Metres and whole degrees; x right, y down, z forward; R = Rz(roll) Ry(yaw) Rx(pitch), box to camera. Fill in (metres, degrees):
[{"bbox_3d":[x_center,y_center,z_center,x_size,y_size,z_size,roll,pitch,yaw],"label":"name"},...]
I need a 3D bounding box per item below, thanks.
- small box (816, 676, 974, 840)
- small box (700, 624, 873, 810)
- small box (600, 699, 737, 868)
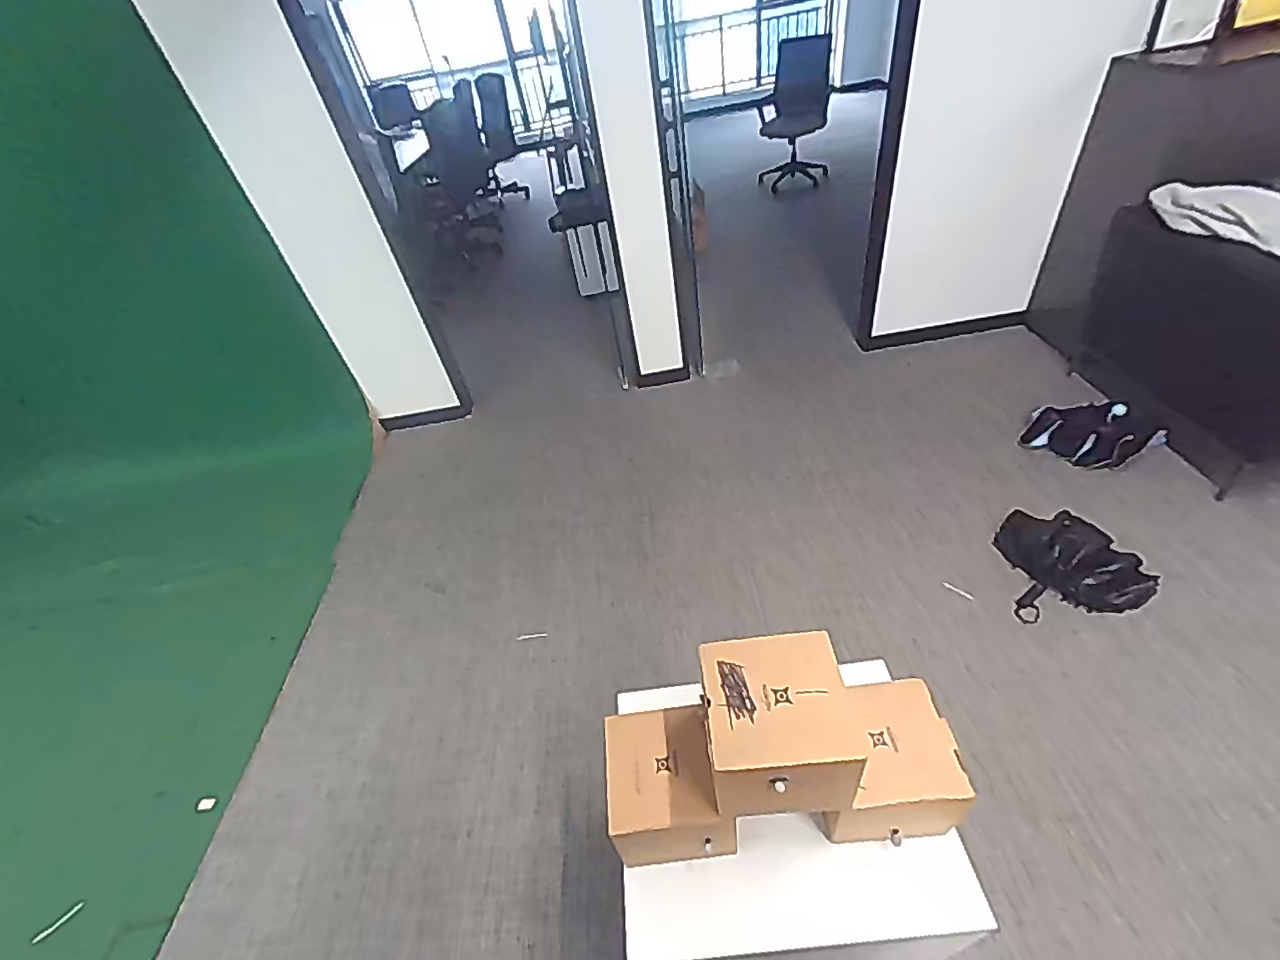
[{"bbox_3d":[0.351,0.418,0.810,0.179,0.176,0.168,-8,42,2],"label":"small box"},{"bbox_3d":[0.178,0.312,0.707,0.179,0.176,0.168,-6,42,2],"label":"small box"},{"bbox_3d":[0.040,0.457,0.813,0.179,0.176,0.168,-9,40,-1],"label":"small box"}]
